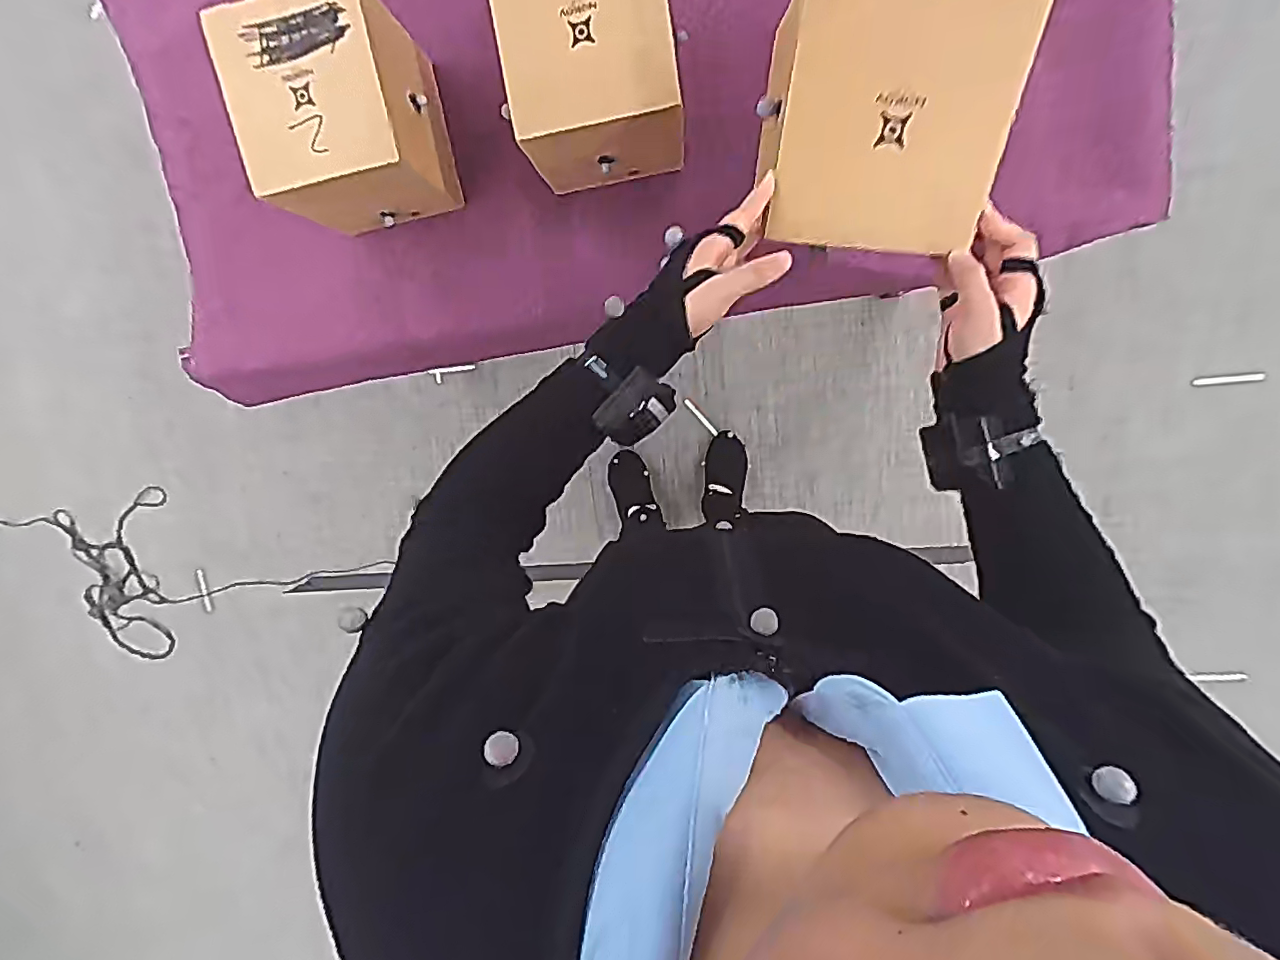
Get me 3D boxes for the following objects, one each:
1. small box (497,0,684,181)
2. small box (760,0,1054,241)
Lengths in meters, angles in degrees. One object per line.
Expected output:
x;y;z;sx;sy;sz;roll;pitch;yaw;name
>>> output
-0.043;-0.444;0.581;0.168;0.176;0.179;-8;100;6;small box
0.203;-0.315;0.470;0.168;0.176;0.179;6;118;4;small box
